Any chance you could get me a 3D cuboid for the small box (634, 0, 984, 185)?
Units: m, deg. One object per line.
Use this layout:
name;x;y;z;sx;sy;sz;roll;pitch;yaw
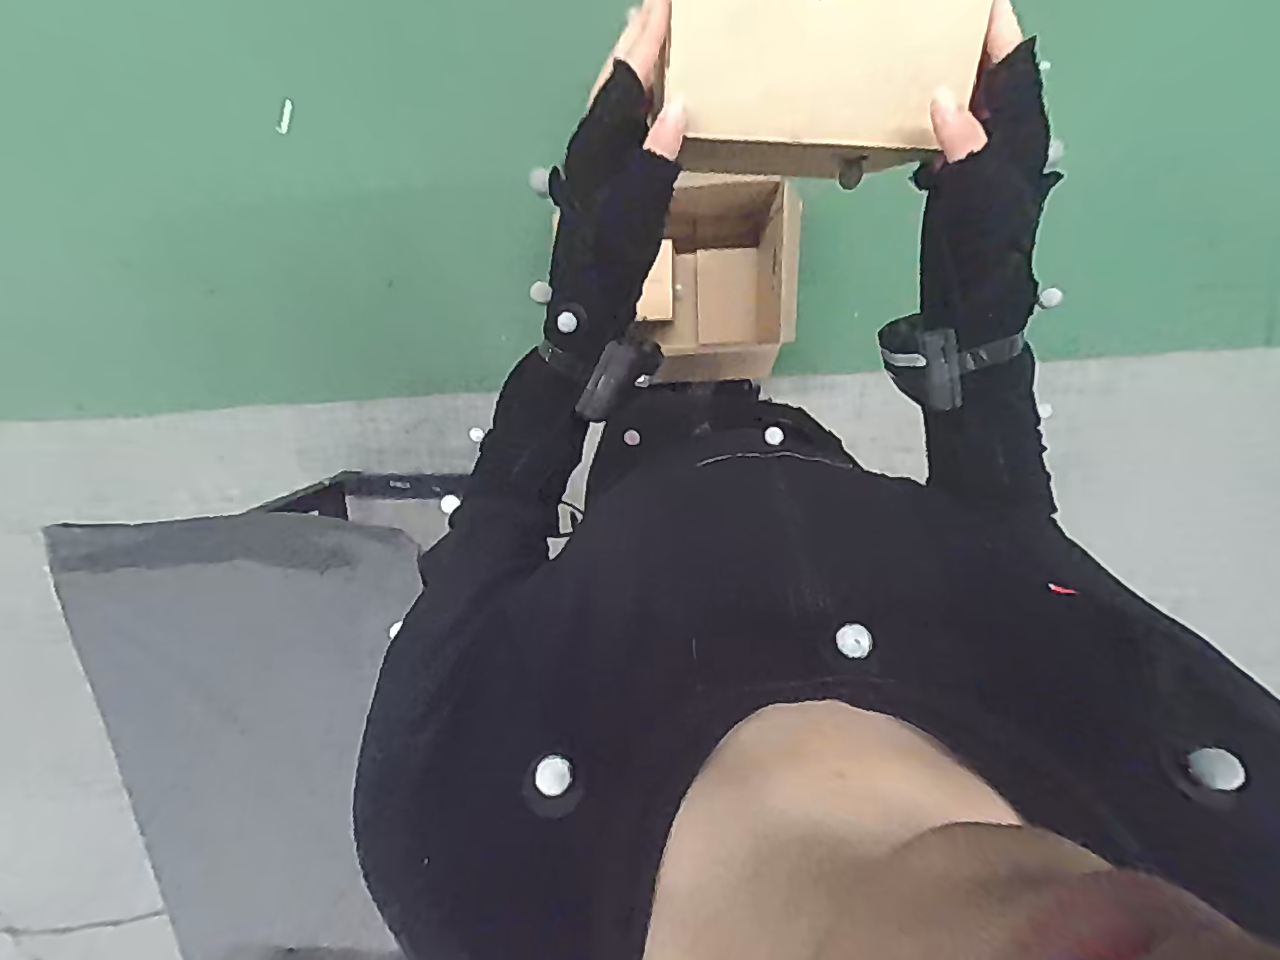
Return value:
small box;0.090;-0.293;0.347;0.179;0.176;0.168;0;113;-4
